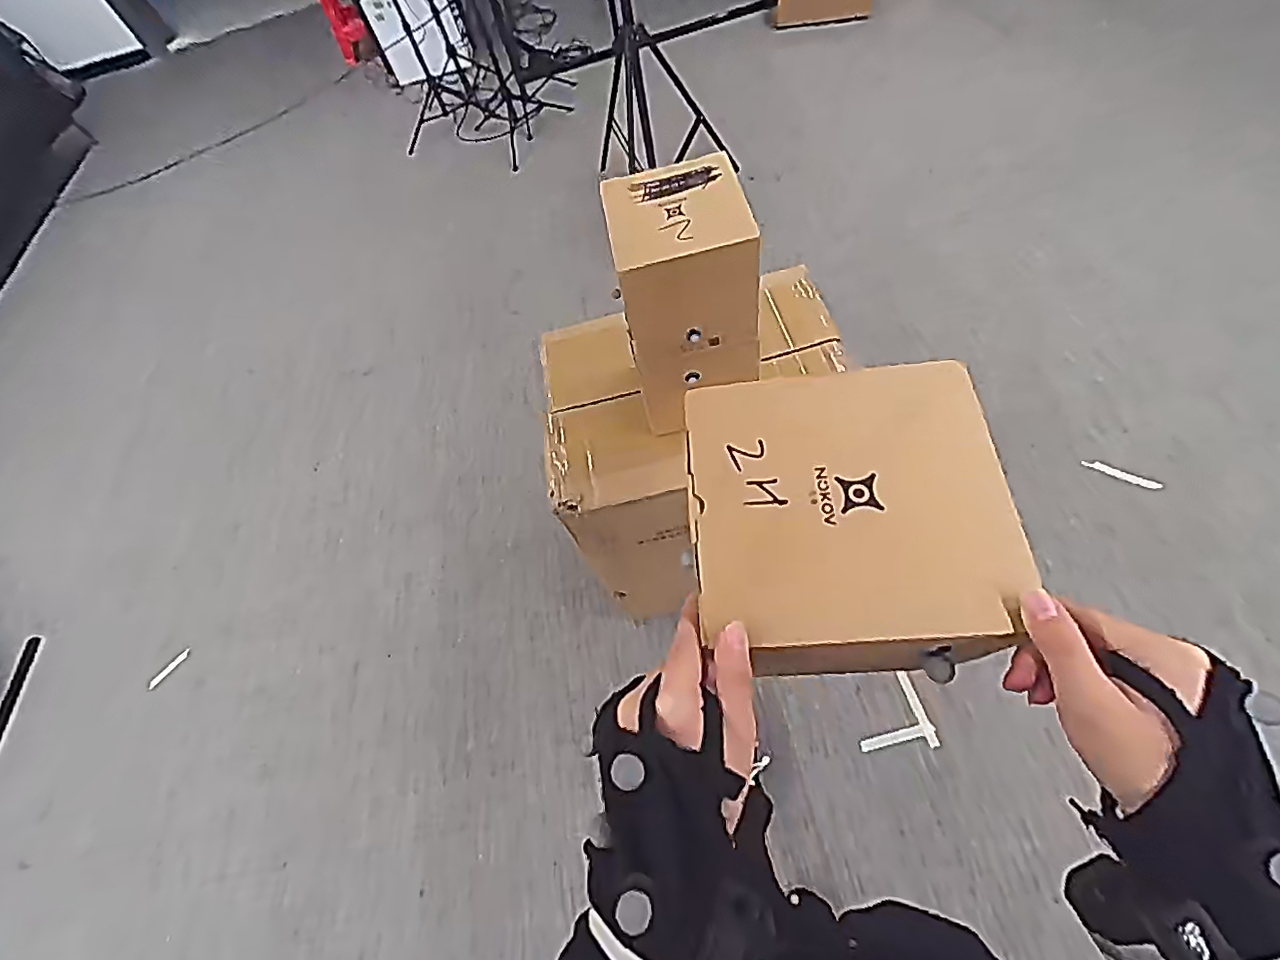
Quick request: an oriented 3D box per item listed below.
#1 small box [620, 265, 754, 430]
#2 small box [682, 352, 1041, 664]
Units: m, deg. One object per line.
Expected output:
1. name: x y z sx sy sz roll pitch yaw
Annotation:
1. small box: 0.078 -0.200 0.852 0.179 0.176 0.168 -12 59 4
2. small box: 0.126 0.034 0.384 0.179 0.176 0.168 -5 64 8
